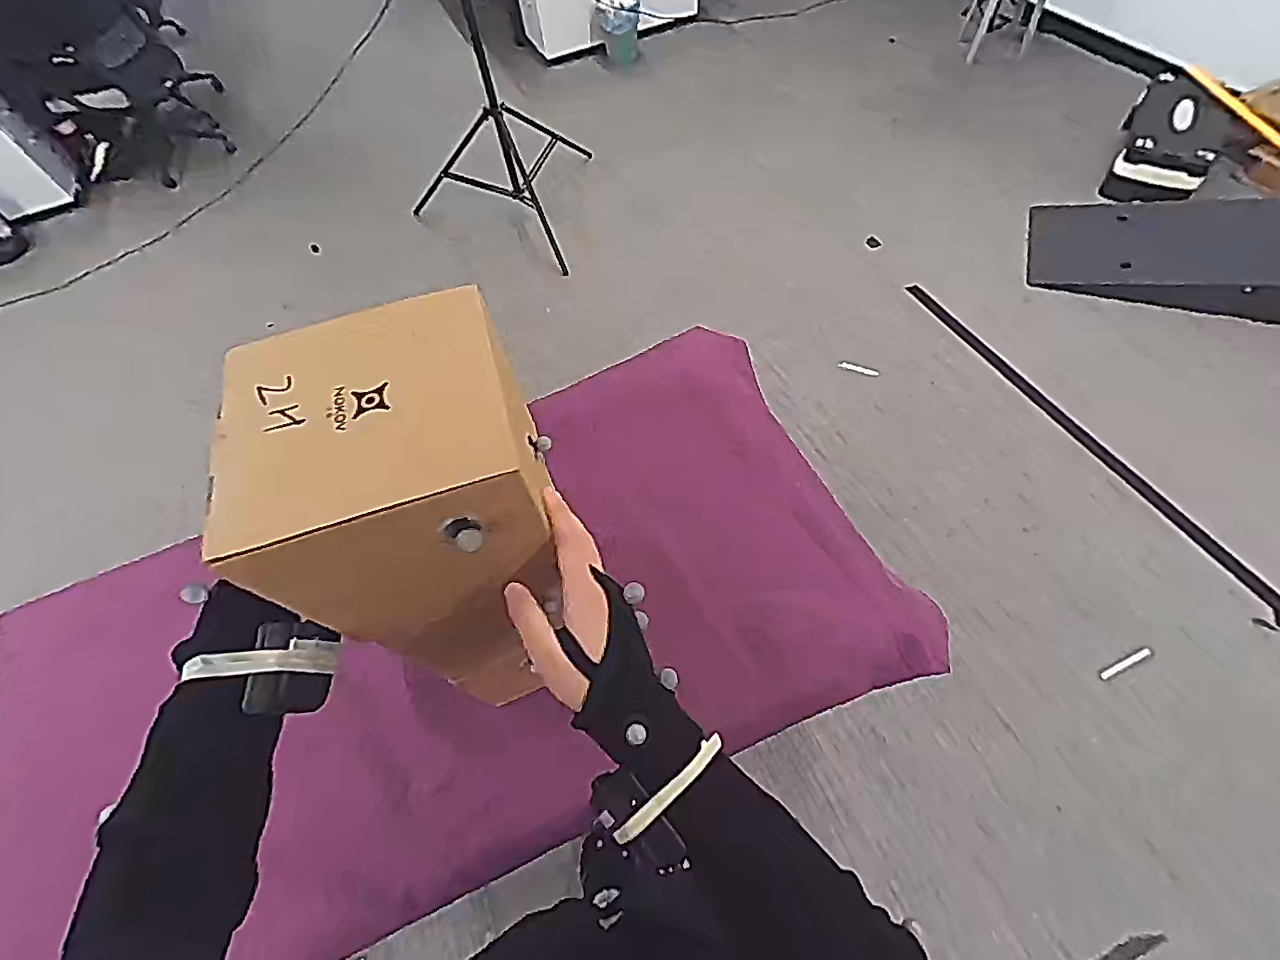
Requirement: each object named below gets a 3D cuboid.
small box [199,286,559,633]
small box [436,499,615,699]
[{"bbox_3d":[-0.166,-0.006,0.401,0.179,0.176,0.168,-17,59,-4],"label":"small box"},{"bbox_3d":[-0.145,0.157,0.687,0.179,0.176,0.168,-22,60,-8],"label":"small box"}]
